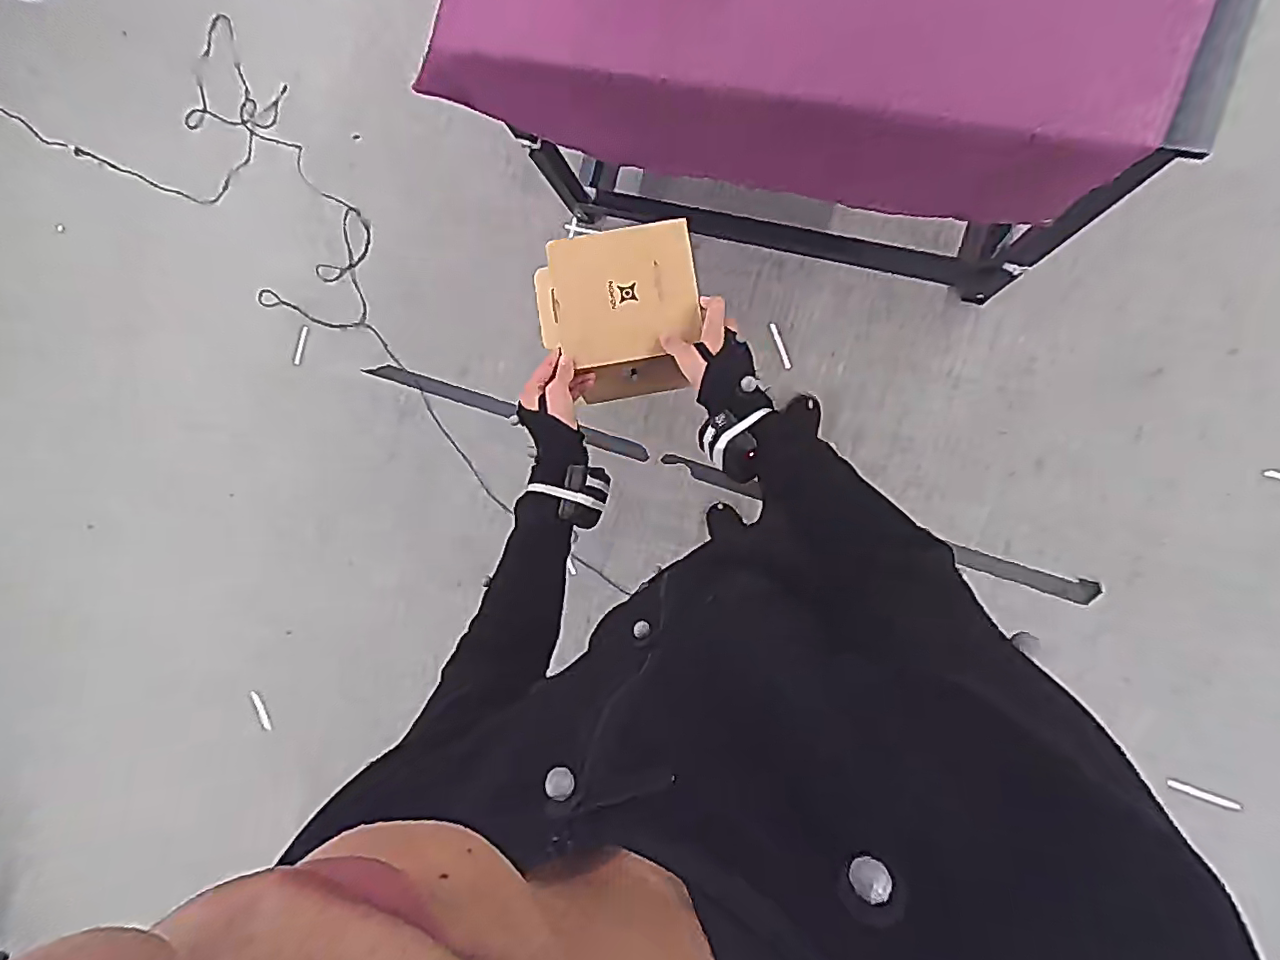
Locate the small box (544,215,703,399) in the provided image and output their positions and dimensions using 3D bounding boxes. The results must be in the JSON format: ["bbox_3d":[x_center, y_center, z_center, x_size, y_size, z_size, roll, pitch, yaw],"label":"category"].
[{"bbox_3d":[-0.015,-0.216,0.721,0.179,0.176,0.168,-9,83,3],"label":"small box"}]
